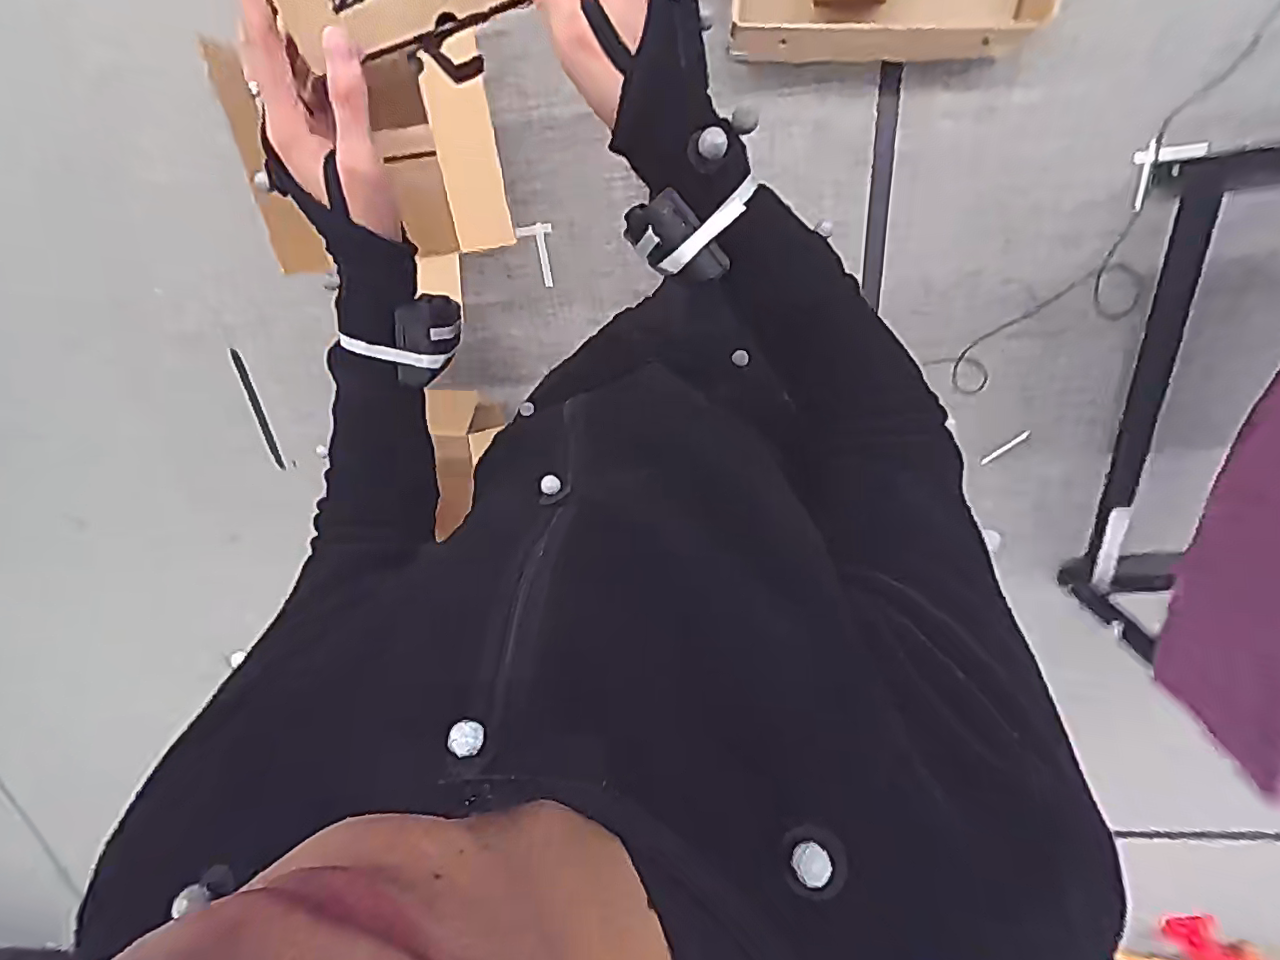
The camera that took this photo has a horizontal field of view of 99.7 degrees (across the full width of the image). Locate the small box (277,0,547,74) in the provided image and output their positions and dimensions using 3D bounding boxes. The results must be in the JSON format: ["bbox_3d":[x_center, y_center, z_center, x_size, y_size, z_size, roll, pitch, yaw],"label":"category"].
[{"bbox_3d":[-0.137,-0.364,0.304,0.168,0.176,0.179,-17,130,3],"label":"small box"}]
